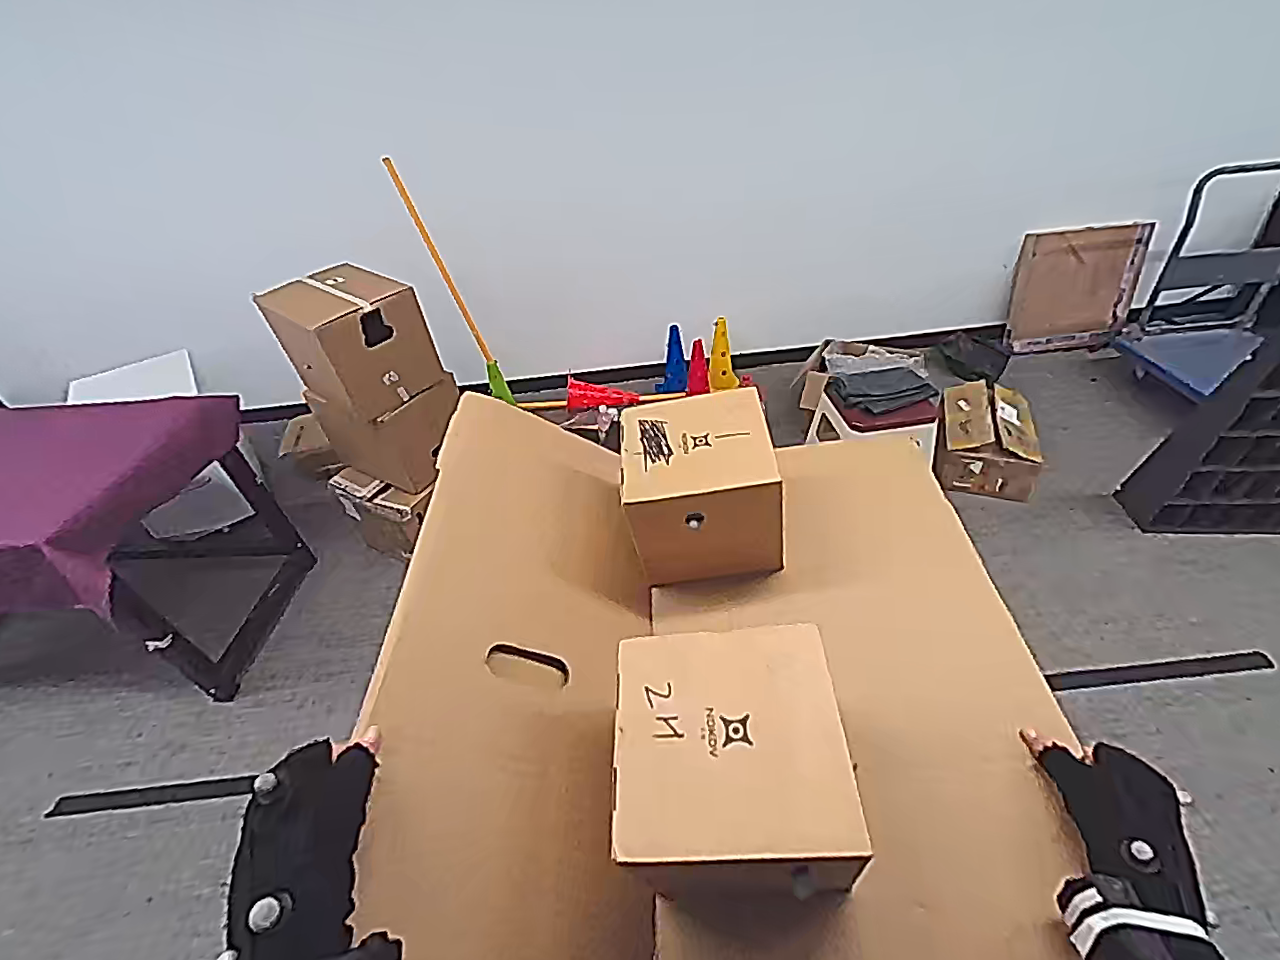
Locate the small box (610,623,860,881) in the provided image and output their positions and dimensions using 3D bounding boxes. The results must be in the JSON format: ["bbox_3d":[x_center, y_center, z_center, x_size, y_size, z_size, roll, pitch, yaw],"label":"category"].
[{"bbox_3d":[0.080,0.247,0.486,0.179,0.176,0.168,-8,46,9],"label":"small box"}]

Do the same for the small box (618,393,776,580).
[{"bbox_3d":[0.075,0.014,0.705,0.179,0.176,0.168,-9,46,7],"label":"small box"}]
